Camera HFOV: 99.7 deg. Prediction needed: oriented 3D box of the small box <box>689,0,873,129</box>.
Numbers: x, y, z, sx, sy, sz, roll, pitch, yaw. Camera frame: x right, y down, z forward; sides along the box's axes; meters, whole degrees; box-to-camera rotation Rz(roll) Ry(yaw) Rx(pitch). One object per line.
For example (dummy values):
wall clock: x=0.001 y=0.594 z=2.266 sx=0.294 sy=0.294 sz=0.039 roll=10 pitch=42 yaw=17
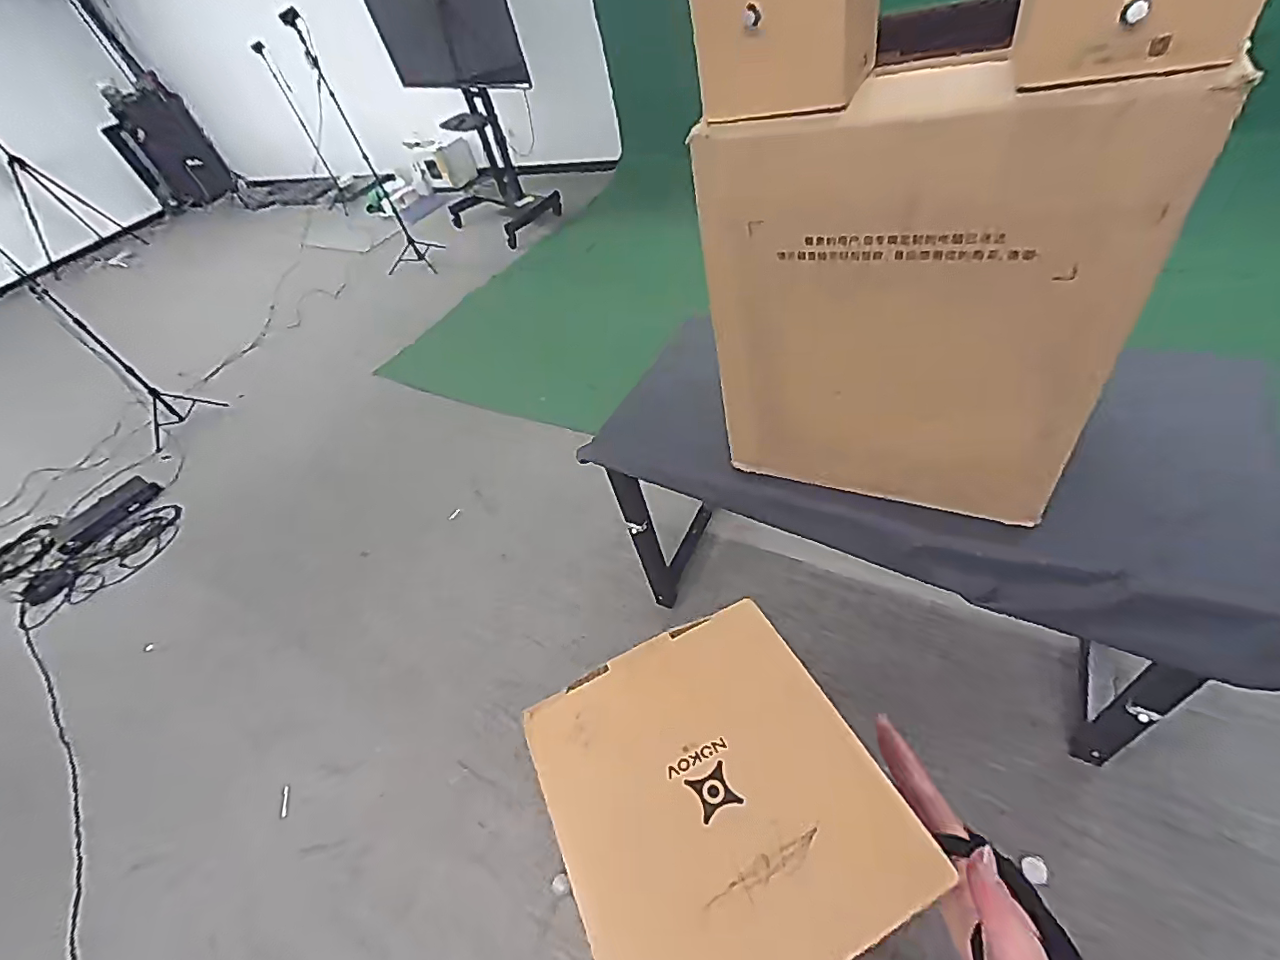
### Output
small box: x=0.172 y=-0.549 z=0.652 sx=0.179 sy=0.176 sz=0.168 roll=12 pitch=53 yaw=29

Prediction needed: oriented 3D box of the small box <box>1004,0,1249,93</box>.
small box: x=0.459 y=-0.491 z=0.508 sx=0.168 sy=0.176 sz=0.179 roll=9 pitch=51 yaw=23

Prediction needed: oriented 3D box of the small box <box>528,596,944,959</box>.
small box: x=0.045 y=0.215 z=0.349 sx=0.168 sy=0.176 sz=0.179 roll=-23 pitch=46 yaw=-12
